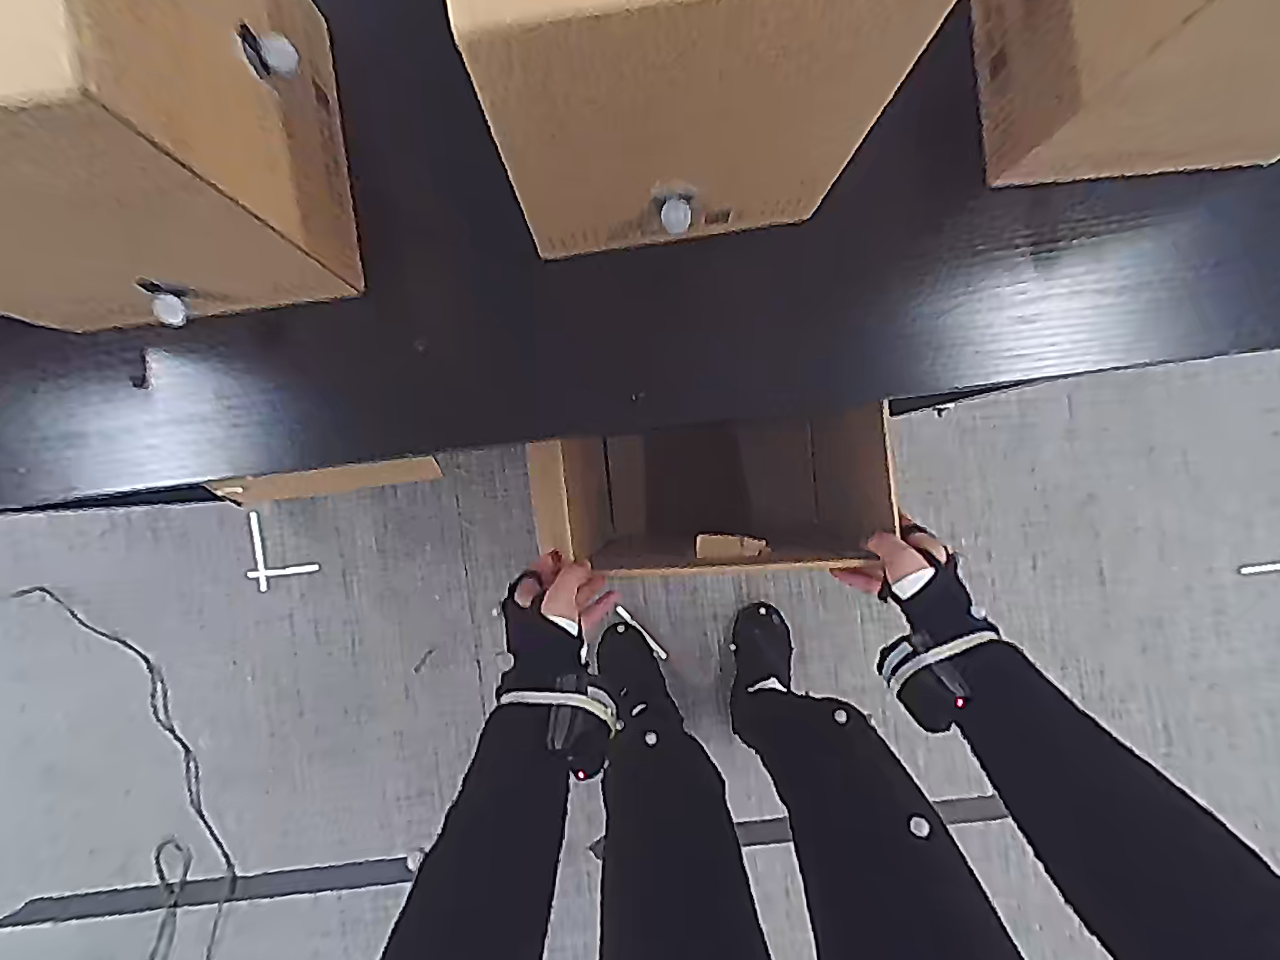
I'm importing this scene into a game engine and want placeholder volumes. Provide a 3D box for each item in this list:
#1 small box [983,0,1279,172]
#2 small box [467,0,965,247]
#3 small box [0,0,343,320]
[{"bbox_3d":[0.291,-0.266,0.240,0.179,0.176,0.168,-5,89,-1],"label":"small box"},{"bbox_3d":[0.014,-0.231,0.236,0.168,0.176,0.179,-9,90,-1],"label":"small box"},{"bbox_3d":[-0.253,-0.181,0.231,0.179,0.176,0.168,-9,90,-3],"label":"small box"}]
